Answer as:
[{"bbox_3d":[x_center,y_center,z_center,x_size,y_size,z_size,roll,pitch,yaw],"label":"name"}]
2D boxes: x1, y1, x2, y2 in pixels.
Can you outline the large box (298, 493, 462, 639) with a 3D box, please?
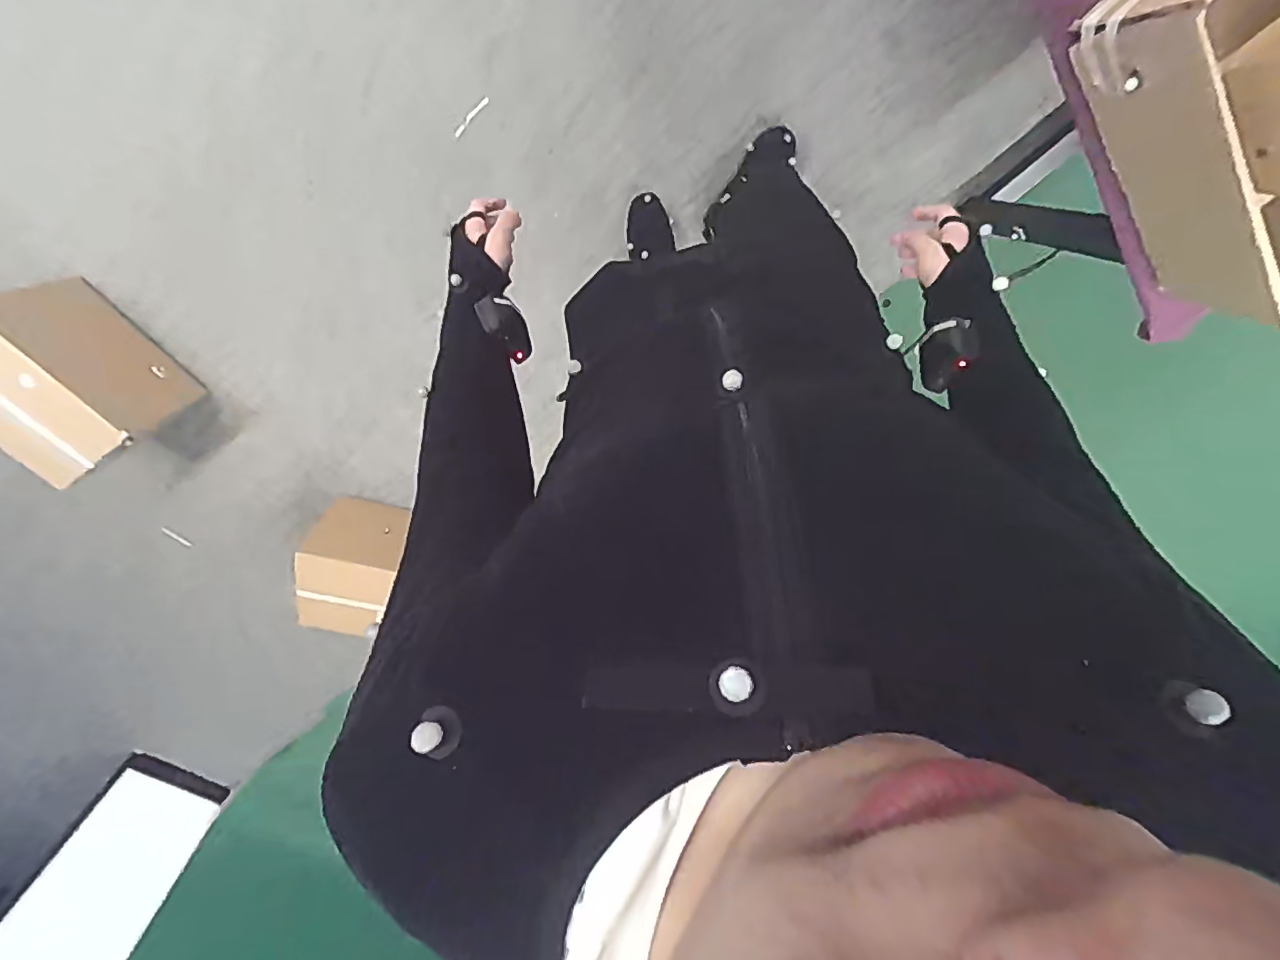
[{"bbox_3d":[-0.846,0.281,1.799,0.408,0.320,0.320,13,122,-9],"label":"large box"}]
